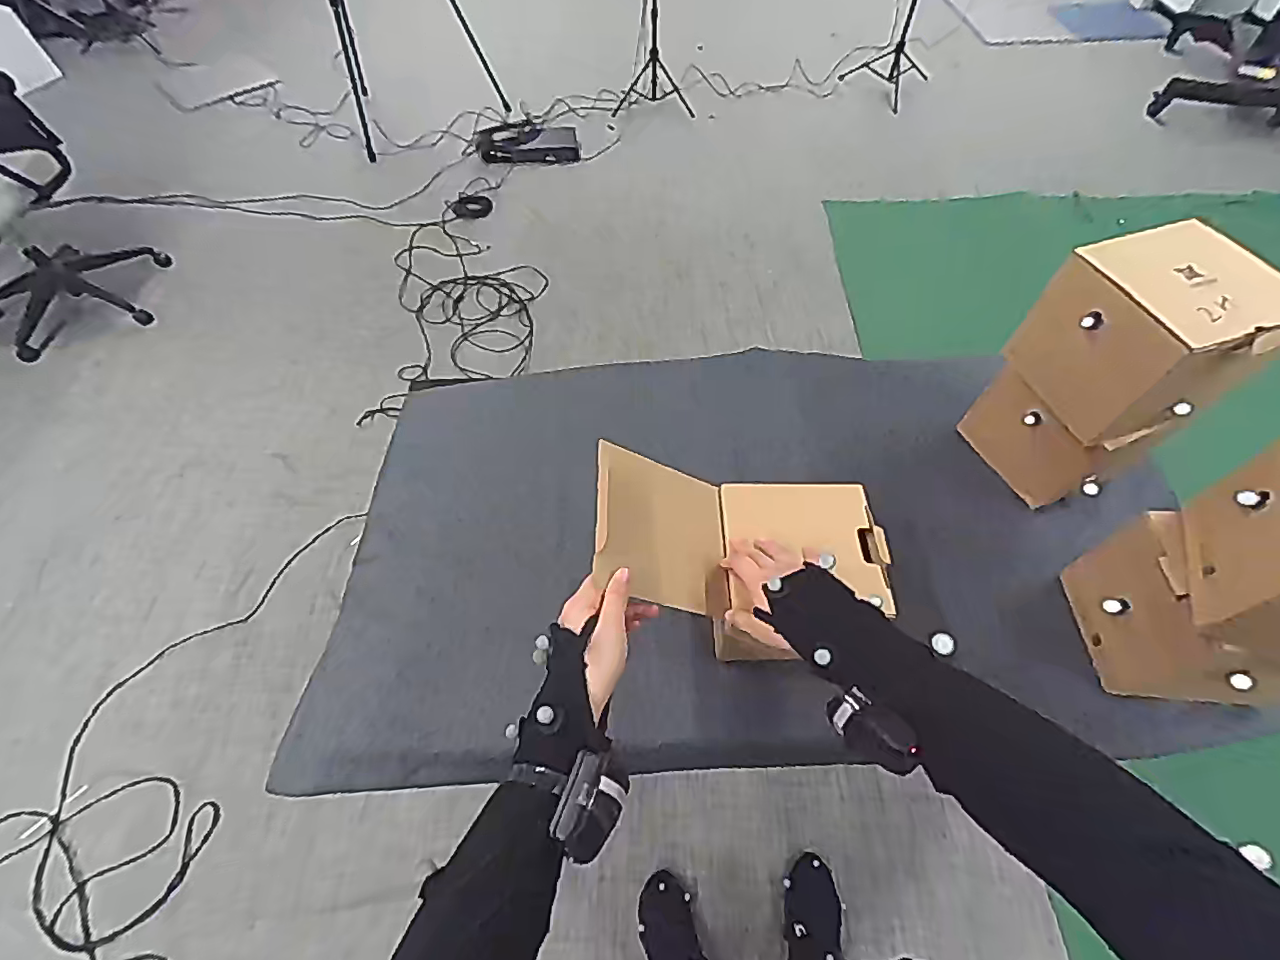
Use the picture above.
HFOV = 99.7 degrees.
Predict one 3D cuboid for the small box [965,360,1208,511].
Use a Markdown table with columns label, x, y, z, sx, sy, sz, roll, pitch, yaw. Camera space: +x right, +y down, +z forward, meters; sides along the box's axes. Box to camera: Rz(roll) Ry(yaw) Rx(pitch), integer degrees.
| label | x | y | z | sx | sy | sz | roll | pitch | yaw |
| --- | --- | --- | --- | --- | --- | --- | --- | --- | --- |
| small box | 0.626 | -0.084 | 0.789 | 0.168 | 0.176 | 0.179 | -22 | 61 | -9 |

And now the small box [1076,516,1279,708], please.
| label | x | y | z | sx | sy | sz | roll | pitch | yaw |
| --- | --- | --- | --- | --- | --- | --- | --- | --- | --- |
| small box | 0.659 | 0.157 | 0.629 | 0.179 | 0.176 | 0.168 | 3 | 55 | 4 |

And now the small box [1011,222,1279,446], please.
| label | x | y | z | sx | sy | sz | roll | pitch | yaw |
| --- | --- | --- | --- | --- | --- | --- | --- | --- | --- |
| small box | 0.602 | -0.170 | 0.649 | 0.168 | 0.176 | 0.179 | -16 | 59 | -5 |

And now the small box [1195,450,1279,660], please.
| label | x | y | z | sx | sy | sz | roll | pitch | yaw |
| --- | --- | --- | --- | --- | --- | --- | --- | --- | --- |
| small box | 0.658 | 0.076 | 0.486 | 0.179 | 0.176 | 0.168 | 21 | 58 | 15 |
